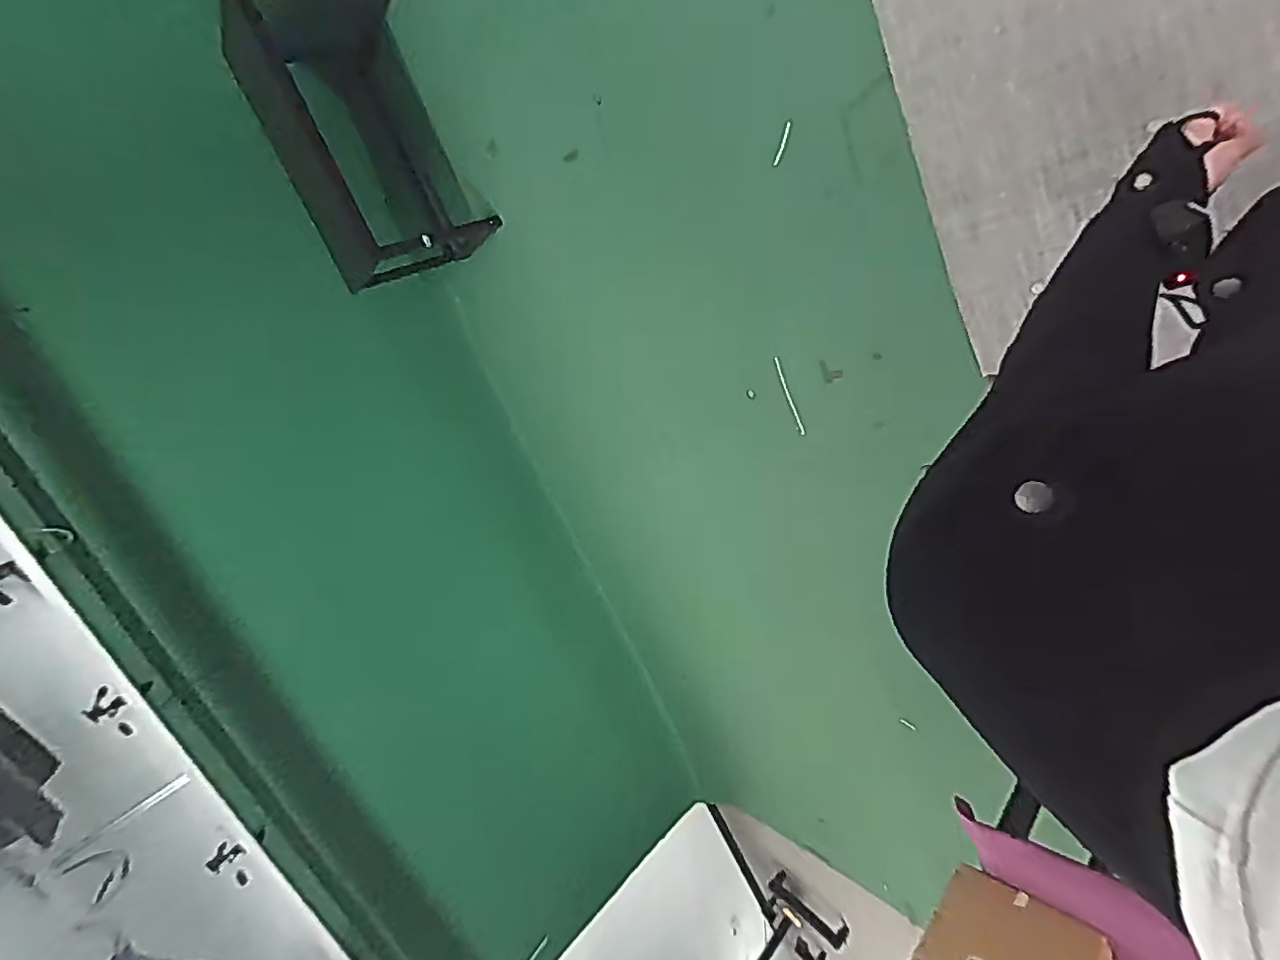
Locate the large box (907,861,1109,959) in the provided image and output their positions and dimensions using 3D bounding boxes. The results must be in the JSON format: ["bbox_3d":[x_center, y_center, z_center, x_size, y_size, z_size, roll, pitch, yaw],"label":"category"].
[{"bbox_3d":[0.901,1.241,1.275,0.320,0.320,0.408,-5,113,54],"label":"large box"}]
